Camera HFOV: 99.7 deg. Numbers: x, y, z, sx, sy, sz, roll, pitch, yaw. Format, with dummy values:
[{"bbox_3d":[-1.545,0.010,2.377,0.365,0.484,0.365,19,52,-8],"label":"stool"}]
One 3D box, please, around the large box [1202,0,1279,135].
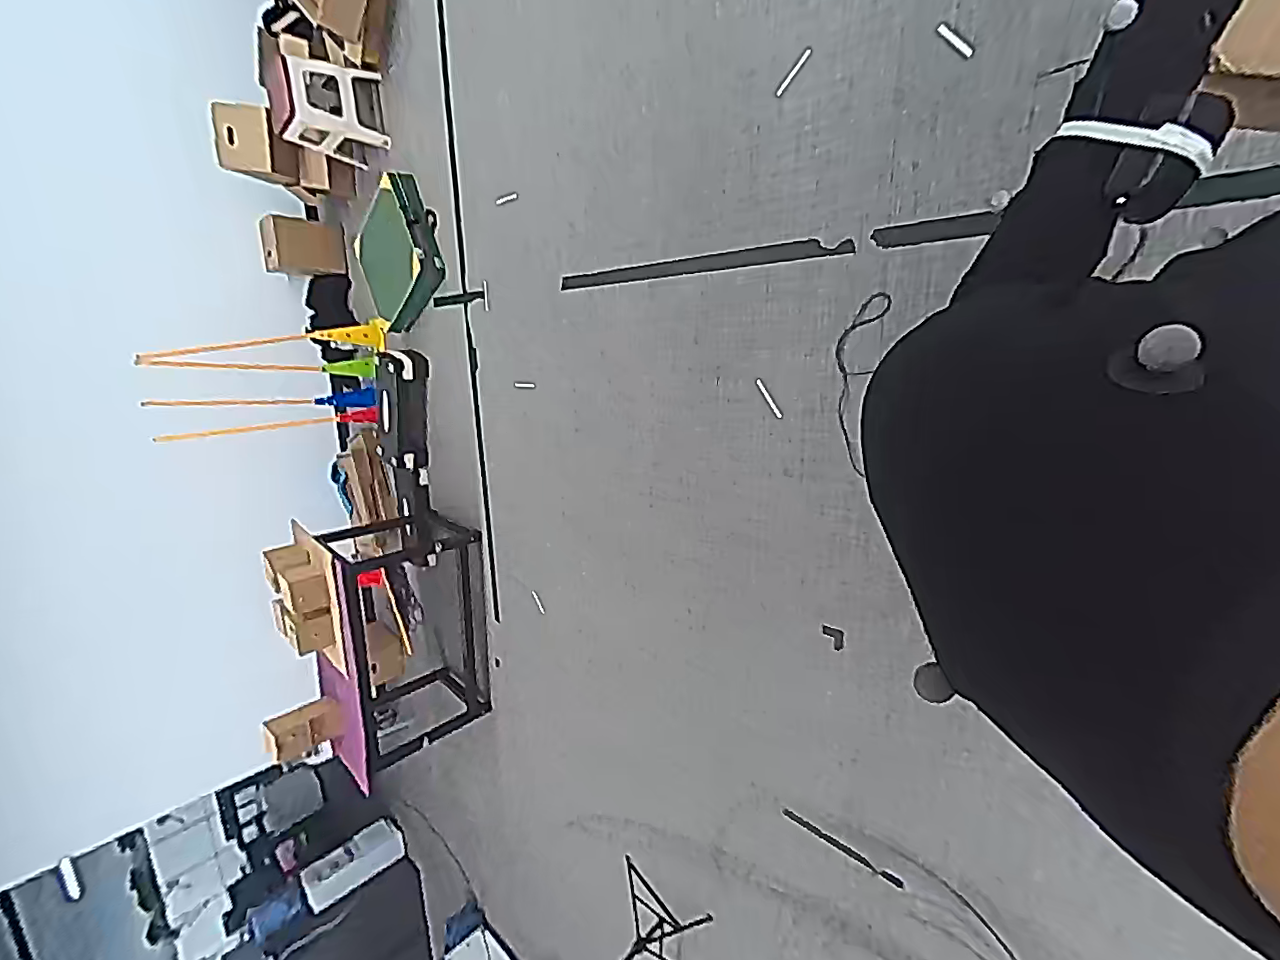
[{"bbox_3d":[0.638,-0.360,0.277,0.408,0.320,0.320,32,130,32],"label":"large box"}]
